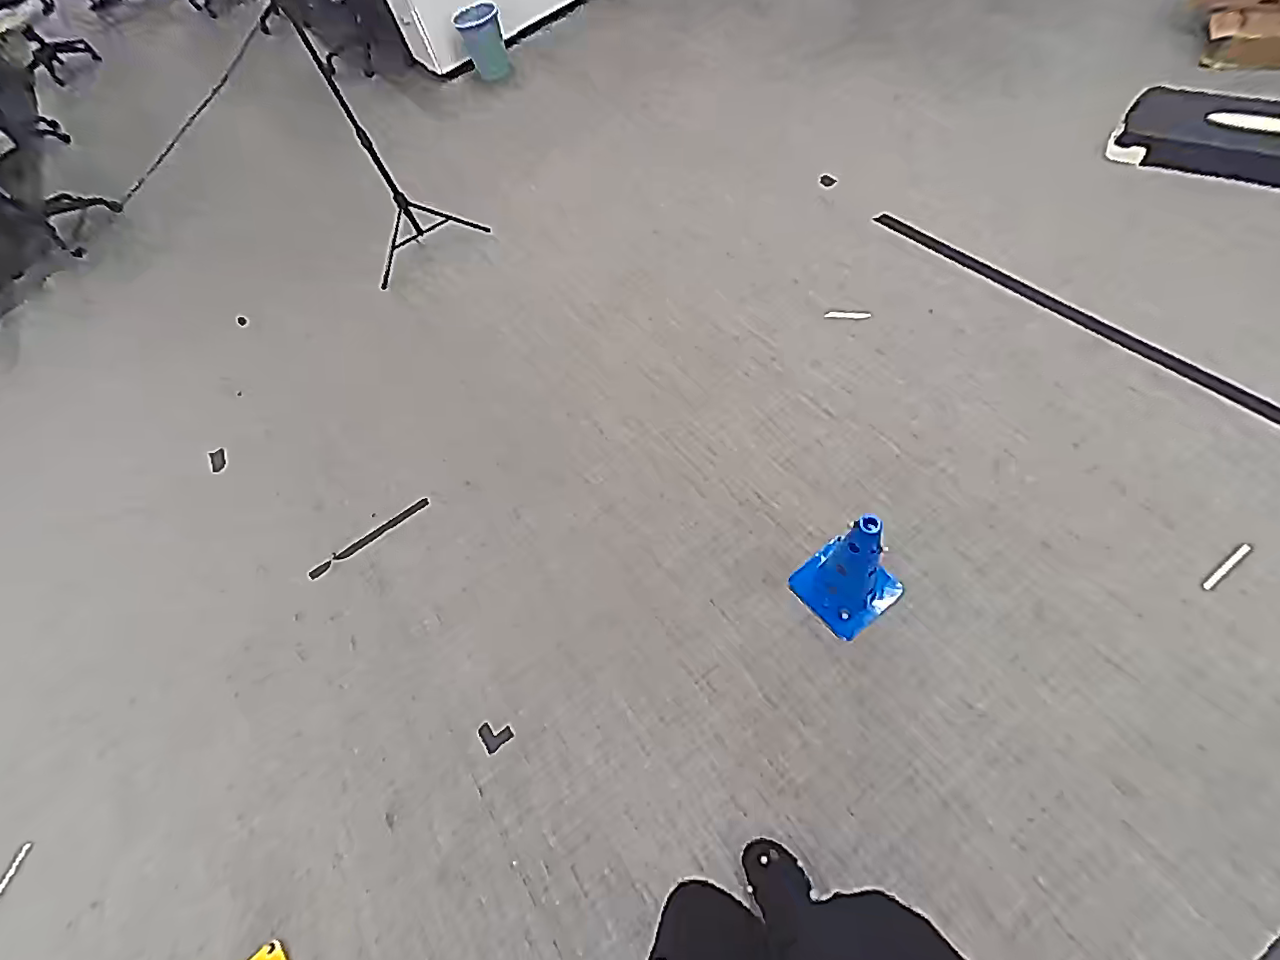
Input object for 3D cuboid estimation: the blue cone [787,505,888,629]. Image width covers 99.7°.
[{"bbox_3d":[0.442,0.162,1.162,0.193,0.380,0.192,-36,59,-9],"label":"blue cone"}]
